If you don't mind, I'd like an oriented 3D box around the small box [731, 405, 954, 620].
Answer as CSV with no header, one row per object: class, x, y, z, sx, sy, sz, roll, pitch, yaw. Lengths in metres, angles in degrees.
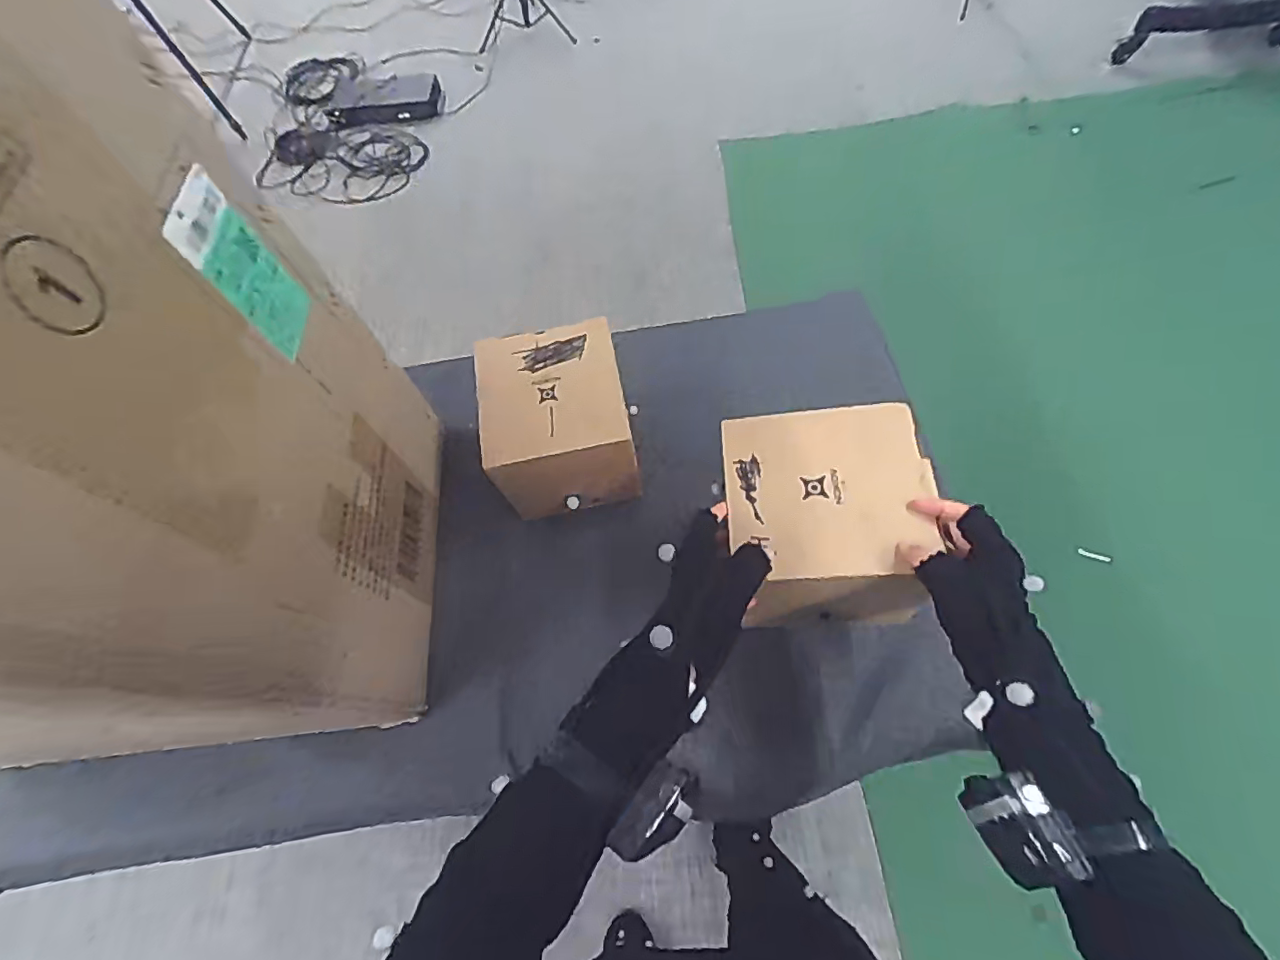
small box,0.186,0.043,0.558,0.179,0.176,0.168,-4,61,9
